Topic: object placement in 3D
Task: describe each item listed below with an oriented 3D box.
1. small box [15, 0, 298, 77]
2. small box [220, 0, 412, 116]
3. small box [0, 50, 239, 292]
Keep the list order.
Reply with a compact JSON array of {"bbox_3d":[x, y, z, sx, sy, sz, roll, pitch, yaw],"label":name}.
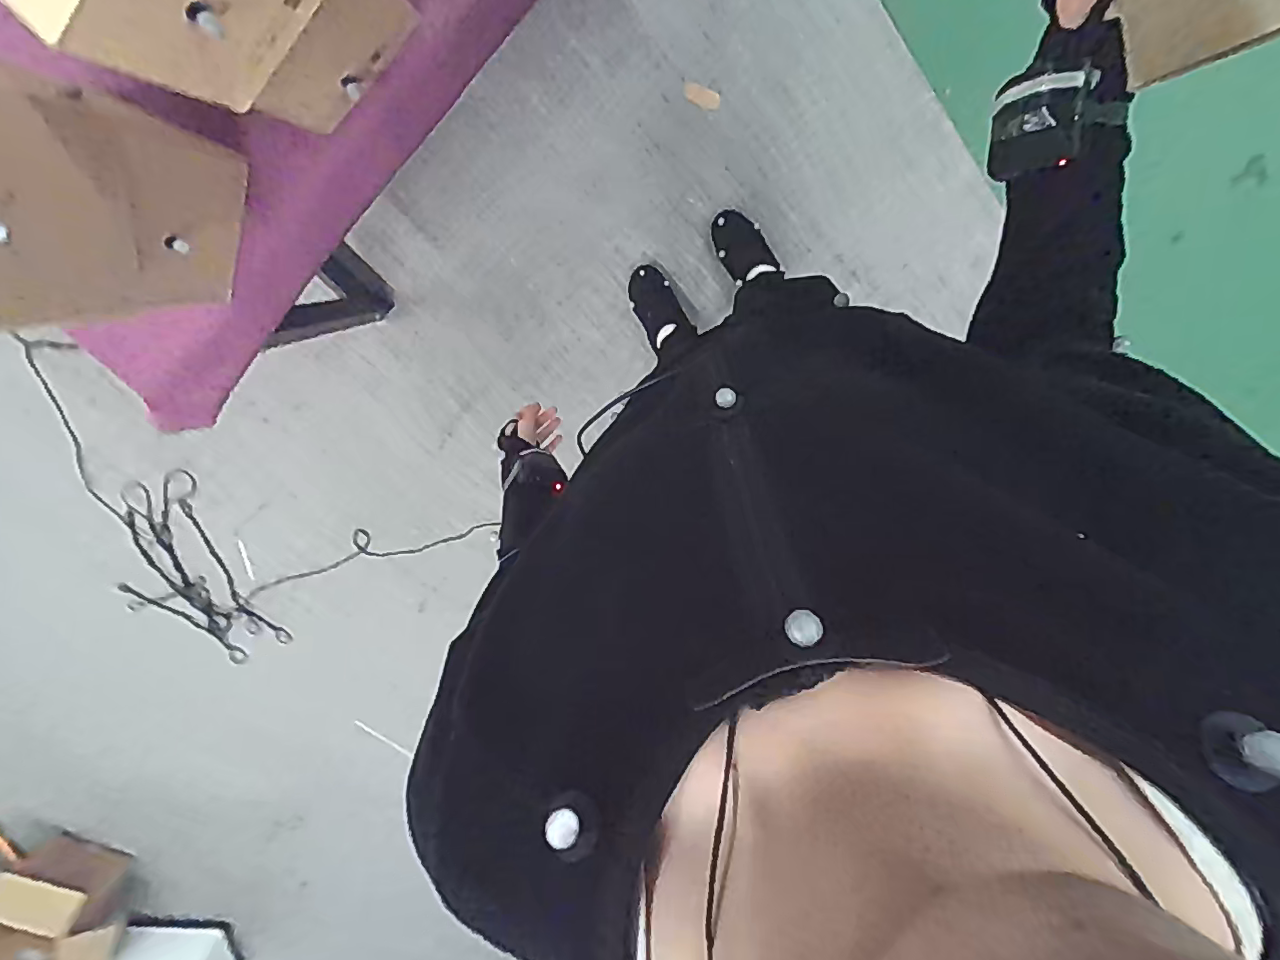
[{"bbox_3d":[-0.343,-0.406,0.348,0.168,0.176,0.179,-39,105,16],"label":"small box"},{"bbox_3d":[-0.353,-0.480,0.494,0.168,0.176,0.179,-38,107,16],"label":"small box"},{"bbox_3d":[-0.564,-0.309,0.566,0.168,0.176,0.179,22,111,-8],"label":"small box"}]
